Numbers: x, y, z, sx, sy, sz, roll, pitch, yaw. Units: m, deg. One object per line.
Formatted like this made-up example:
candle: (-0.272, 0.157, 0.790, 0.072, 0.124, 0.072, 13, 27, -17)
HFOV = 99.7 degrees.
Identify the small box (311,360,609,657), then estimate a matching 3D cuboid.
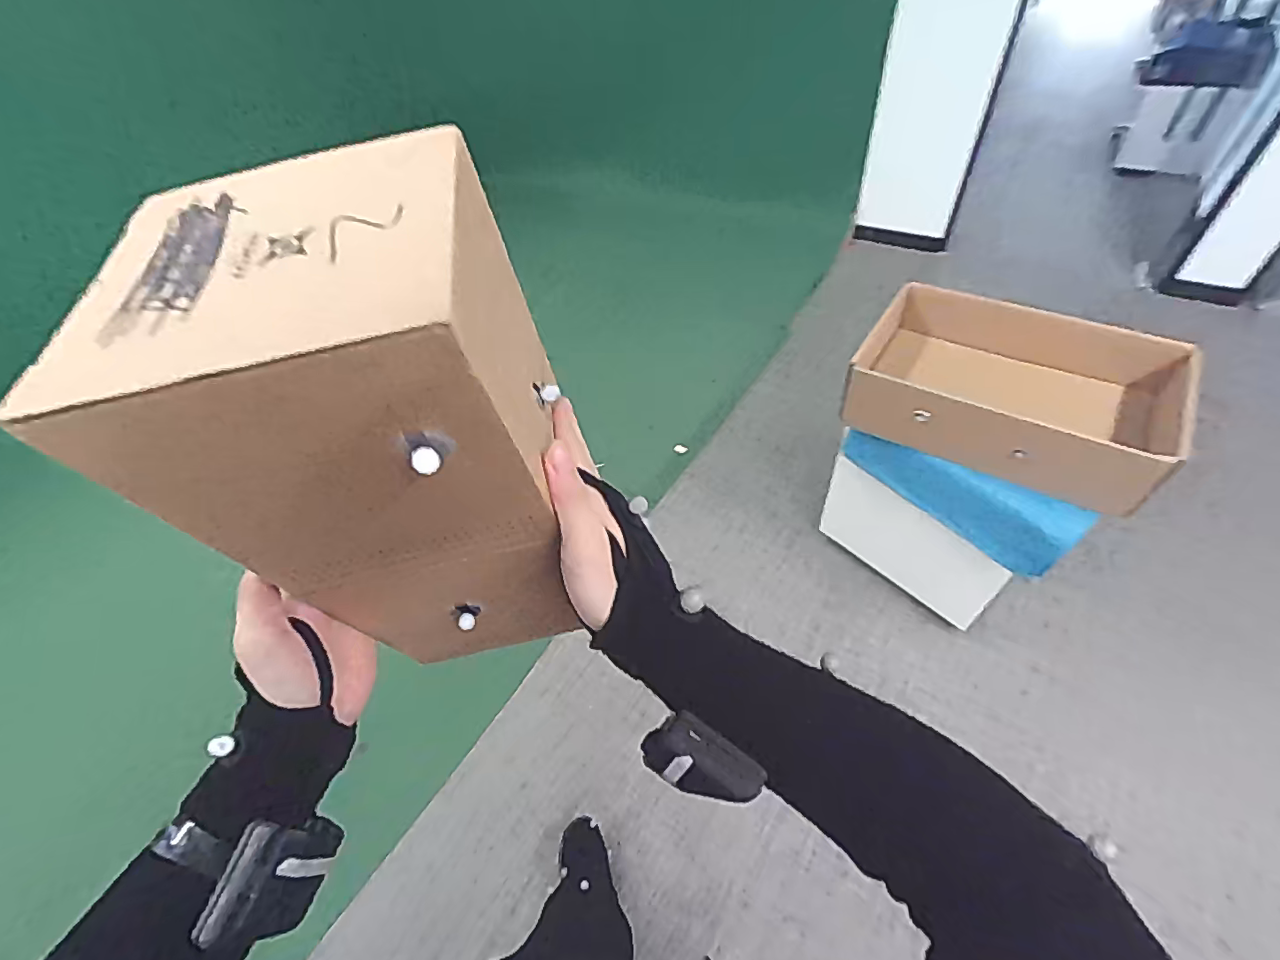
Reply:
small box: (-0.127, 0.032, 0.453, 0.179, 0.176, 0.168, -13, 55, 2)
